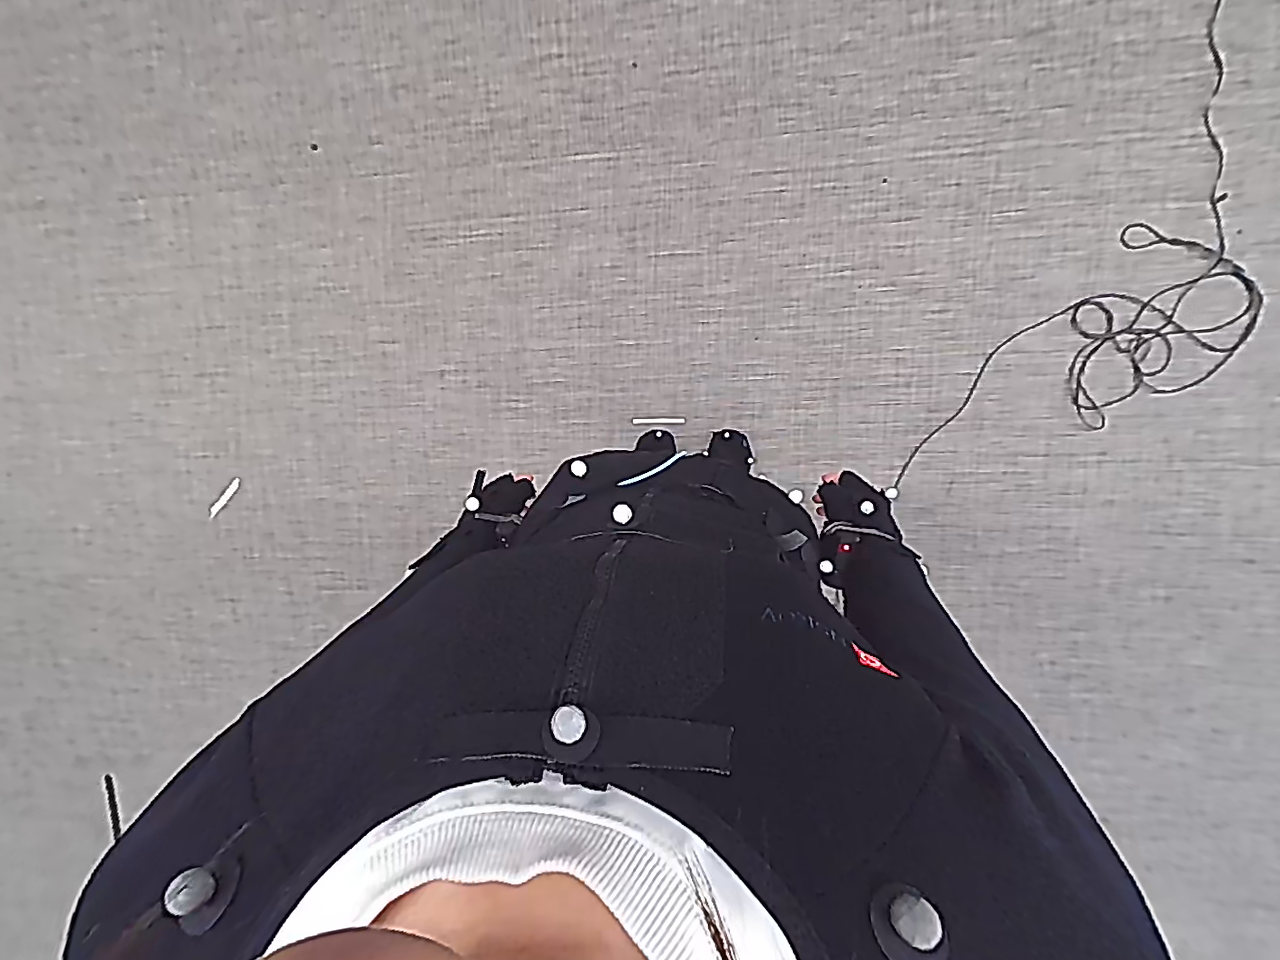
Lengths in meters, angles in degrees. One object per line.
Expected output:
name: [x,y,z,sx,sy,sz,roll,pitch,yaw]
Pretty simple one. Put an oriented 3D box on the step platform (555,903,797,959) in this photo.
step platform: [0.098,1.412,1.507,0.684,0.204,0.286,-2,96,9]
